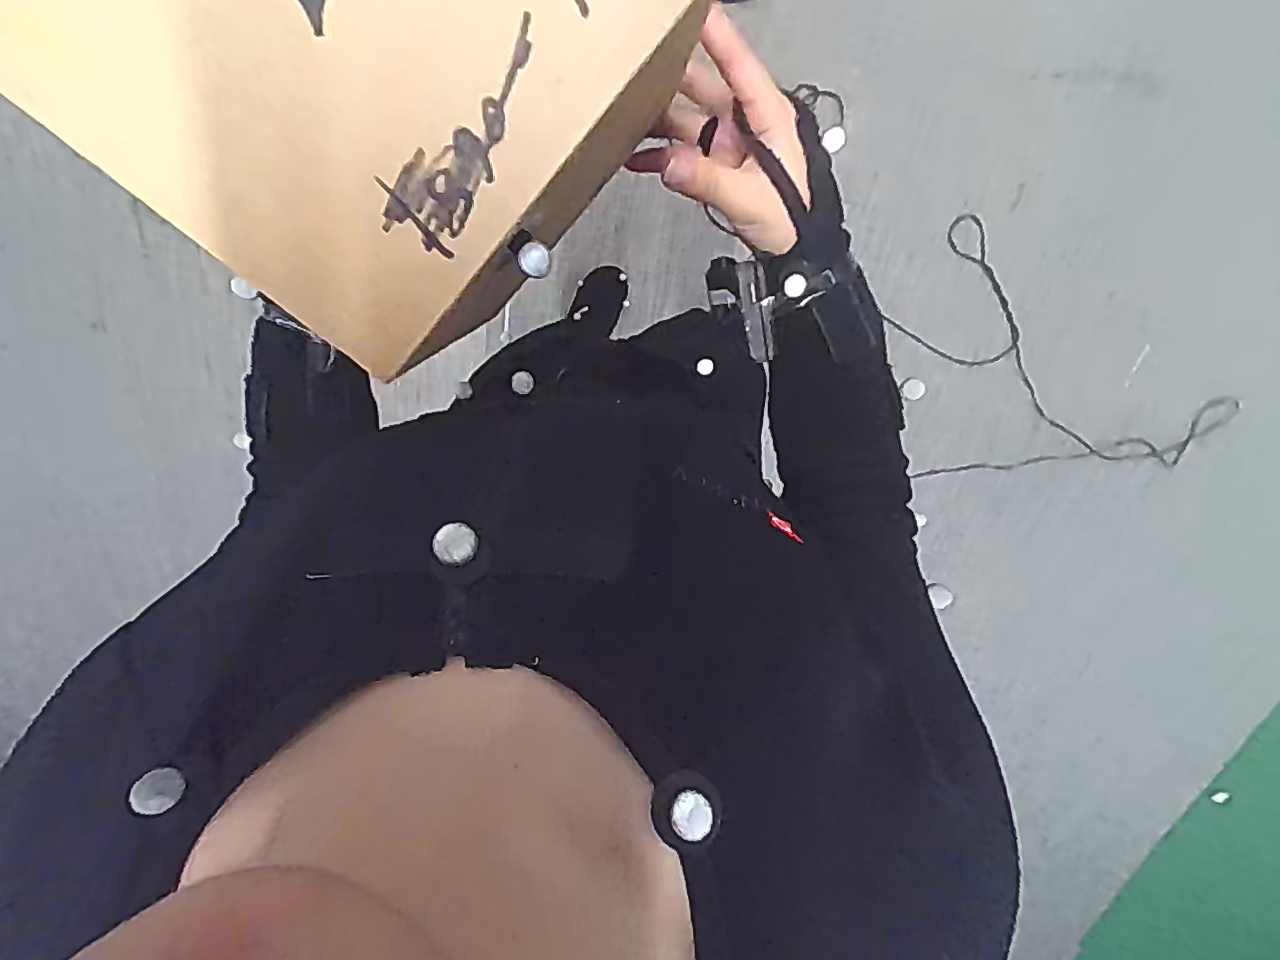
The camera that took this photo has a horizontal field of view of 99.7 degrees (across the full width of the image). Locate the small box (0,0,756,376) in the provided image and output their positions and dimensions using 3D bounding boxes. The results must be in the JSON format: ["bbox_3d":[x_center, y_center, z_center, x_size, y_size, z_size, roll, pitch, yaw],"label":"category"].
[{"bbox_3d":[-0.086,-0.173,0.225,0.179,0.176,0.168,42,105,-18],"label":"small box"}]
